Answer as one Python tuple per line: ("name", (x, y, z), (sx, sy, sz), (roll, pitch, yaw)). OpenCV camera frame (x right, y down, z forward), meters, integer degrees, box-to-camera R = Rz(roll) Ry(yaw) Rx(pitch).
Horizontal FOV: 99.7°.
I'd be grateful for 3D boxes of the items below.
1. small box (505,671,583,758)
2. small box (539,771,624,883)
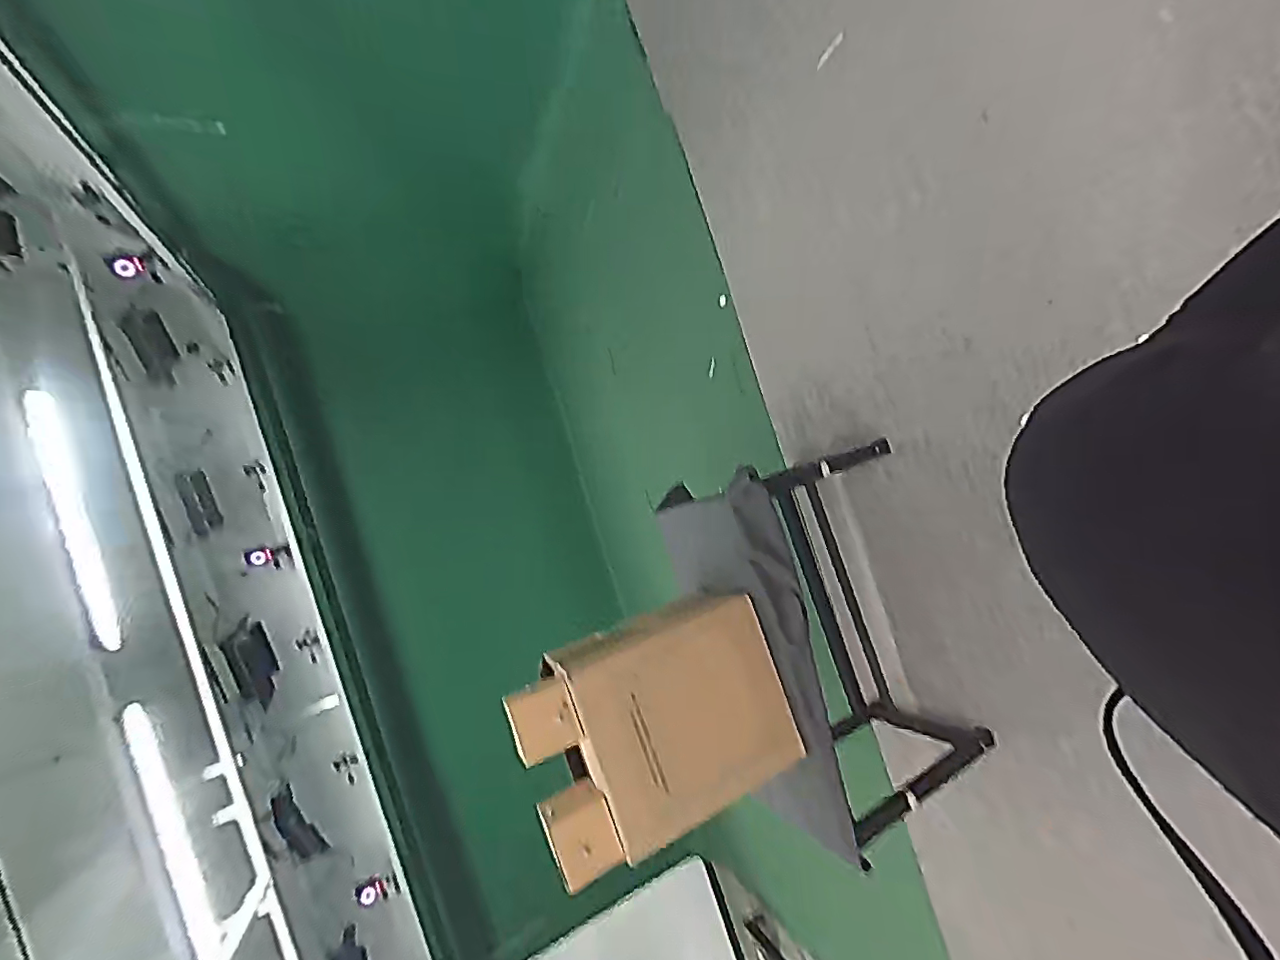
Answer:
("small box", (-0.276, 0.662, 1.551), (0.168, 0.176, 0.179), (69, 157, 8))
("small box", (-0.164, 0.968, 1.528), (0.179, 0.176, 0.168), (69, 156, 2))
